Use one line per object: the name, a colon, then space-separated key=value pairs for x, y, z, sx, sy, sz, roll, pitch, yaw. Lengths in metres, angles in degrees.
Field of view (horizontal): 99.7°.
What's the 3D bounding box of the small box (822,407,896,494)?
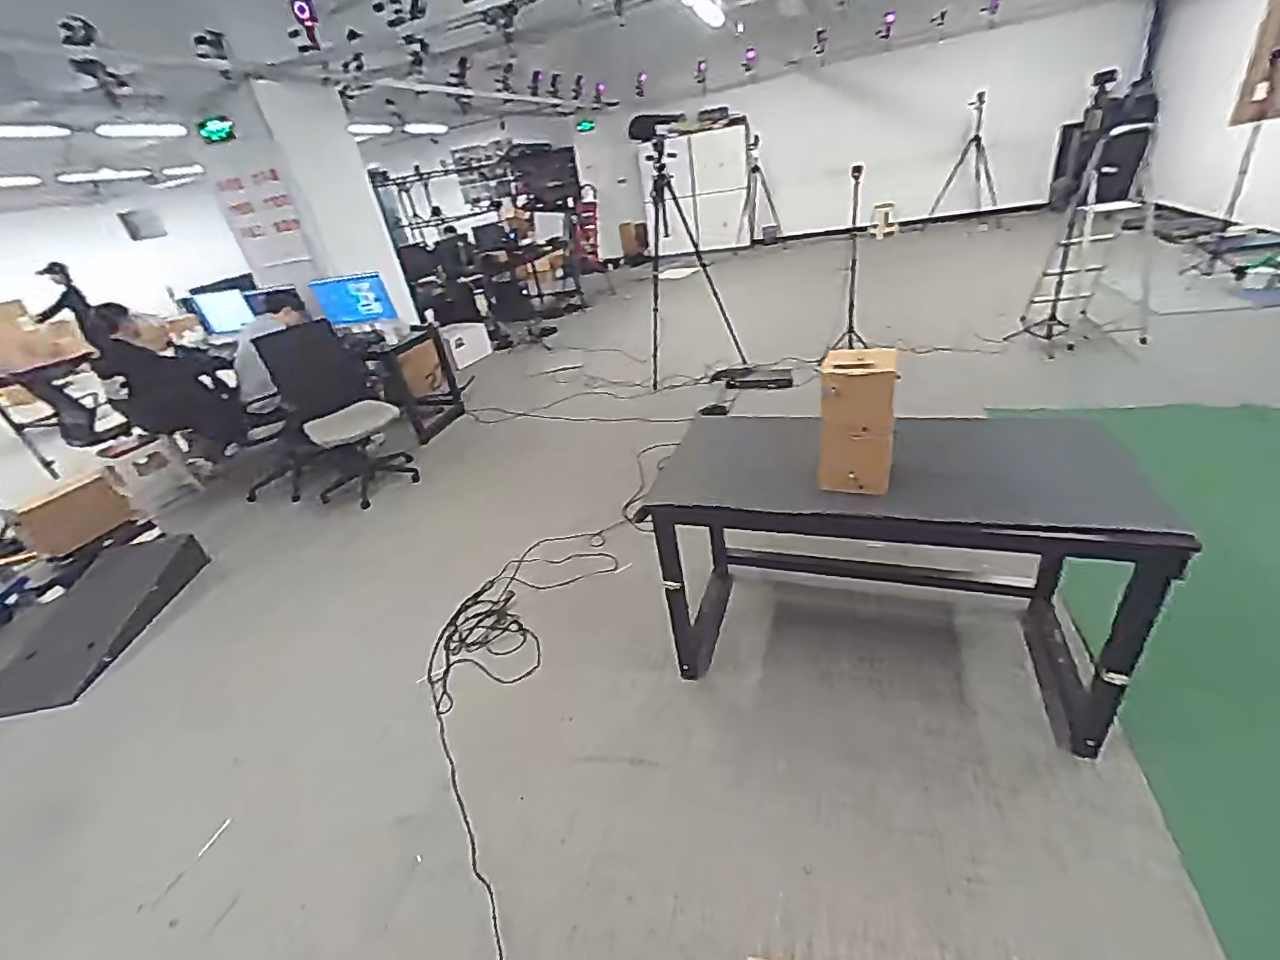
small box: x=0.584 y=-0.083 z=1.445 sx=0.168 sy=0.176 sz=0.179 roll=5 pitch=33 yaw=26
